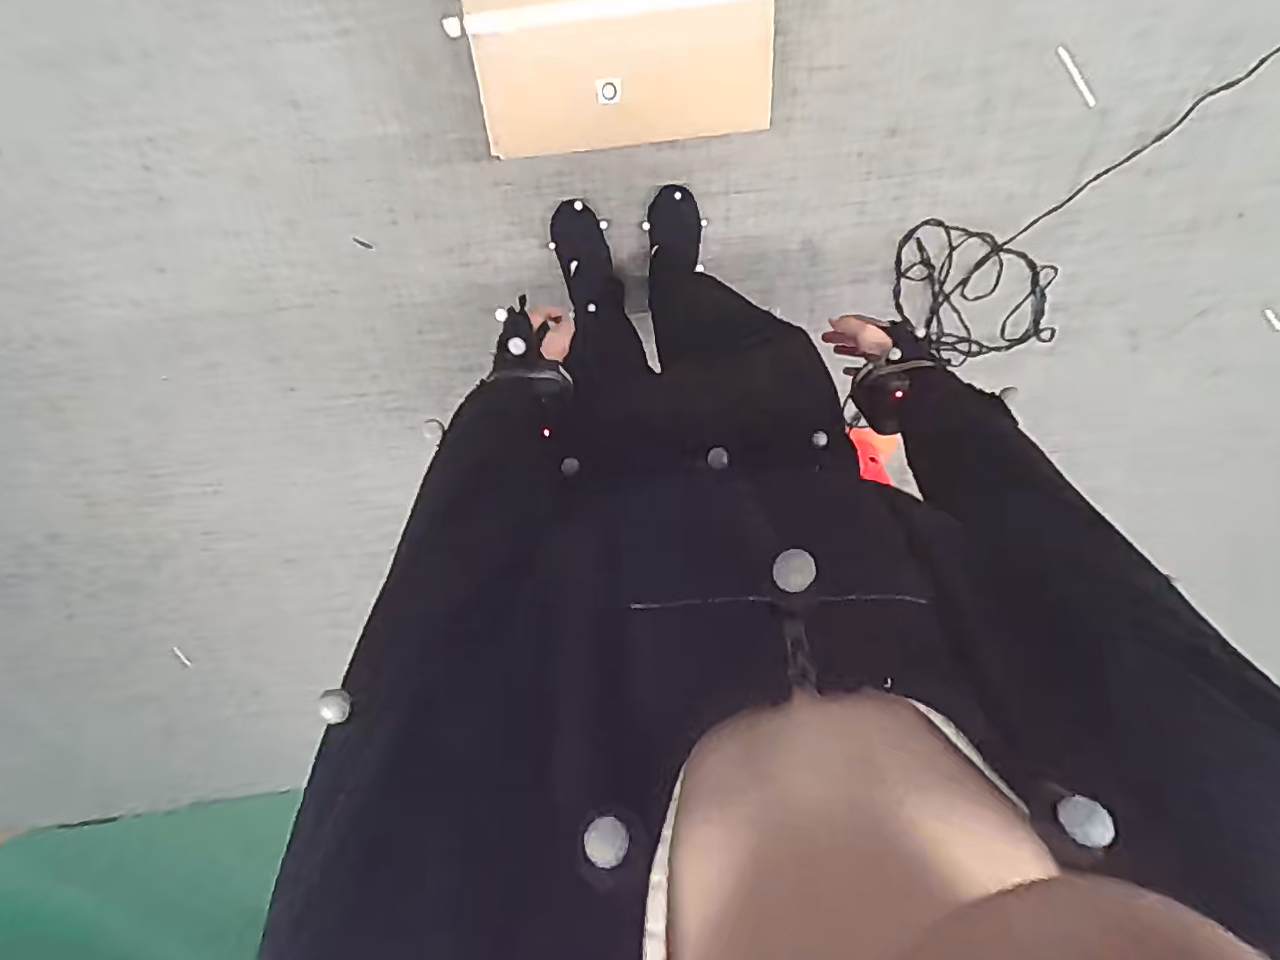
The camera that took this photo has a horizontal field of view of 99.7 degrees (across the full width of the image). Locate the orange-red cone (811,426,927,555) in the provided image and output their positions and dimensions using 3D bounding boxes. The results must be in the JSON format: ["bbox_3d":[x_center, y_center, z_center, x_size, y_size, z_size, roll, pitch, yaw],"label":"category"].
[{"bbox_3d":[0.595,0.049,1.316,0.199,0.360,0.198,10,123,-12],"label":"orange-red cone"}]
